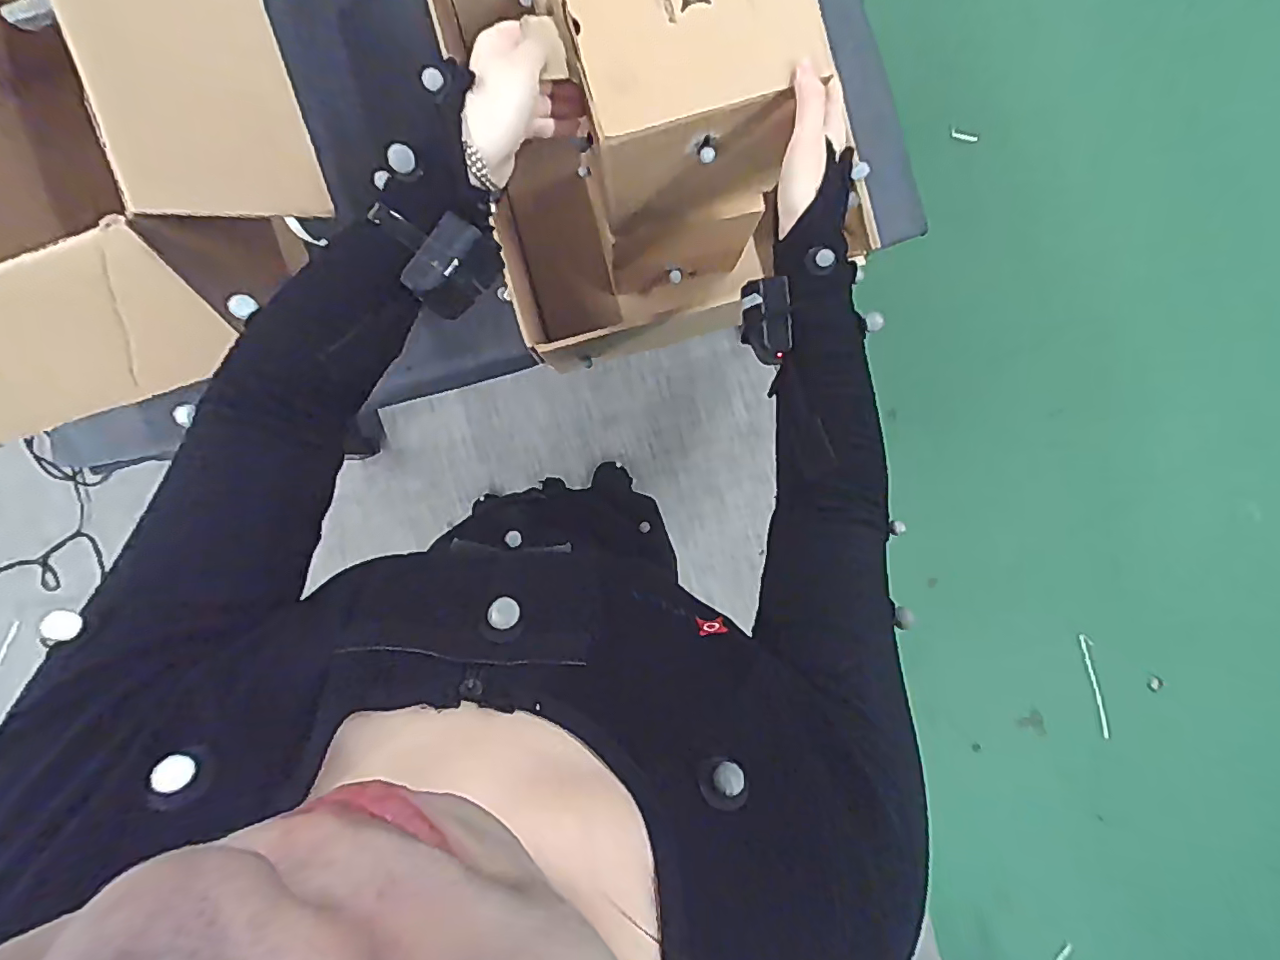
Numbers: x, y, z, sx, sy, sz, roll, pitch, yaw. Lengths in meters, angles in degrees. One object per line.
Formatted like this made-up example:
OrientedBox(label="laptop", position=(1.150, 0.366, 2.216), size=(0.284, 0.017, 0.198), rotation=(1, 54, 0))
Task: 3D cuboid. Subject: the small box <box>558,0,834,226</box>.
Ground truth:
OrientedBox(label="small box", position=(0.034, -0.348, 0.466), size=(0.179, 0.176, 0.168), rotation=(-17, 93, -1))
